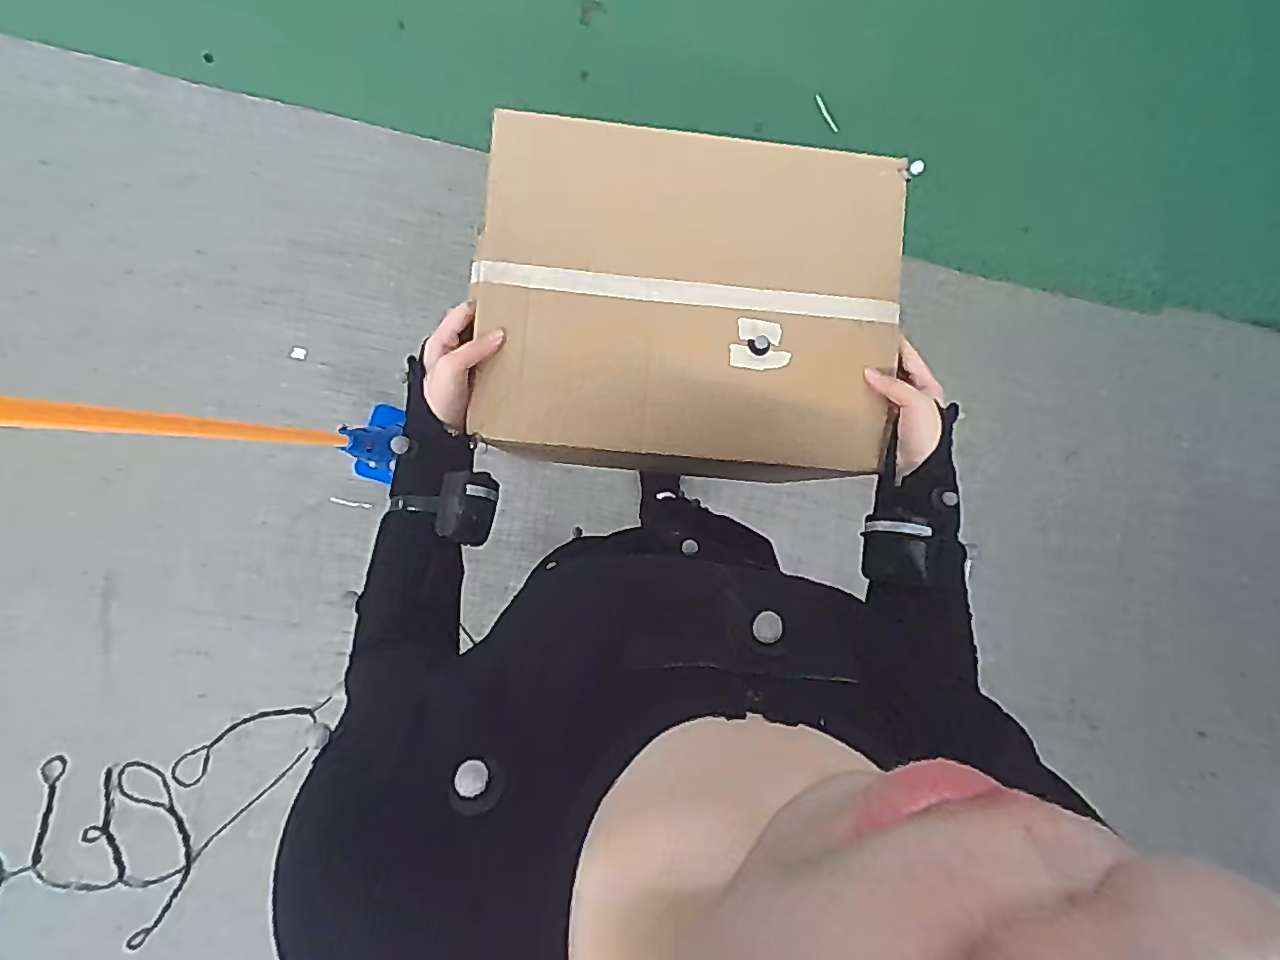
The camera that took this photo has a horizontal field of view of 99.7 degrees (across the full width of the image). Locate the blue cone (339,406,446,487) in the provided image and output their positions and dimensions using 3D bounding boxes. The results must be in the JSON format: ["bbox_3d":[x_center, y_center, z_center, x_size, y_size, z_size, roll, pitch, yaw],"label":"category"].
[{"bbox_3d":[-0.609,-0.089,1.267,0.193,0.380,0.192,20,87,-6],"label":"blue cone"}]

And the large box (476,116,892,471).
[{"bbox_3d":[0.036,-0.180,0.670,0.408,0.320,0.320,4,88,-4],"label":"large box"}]
